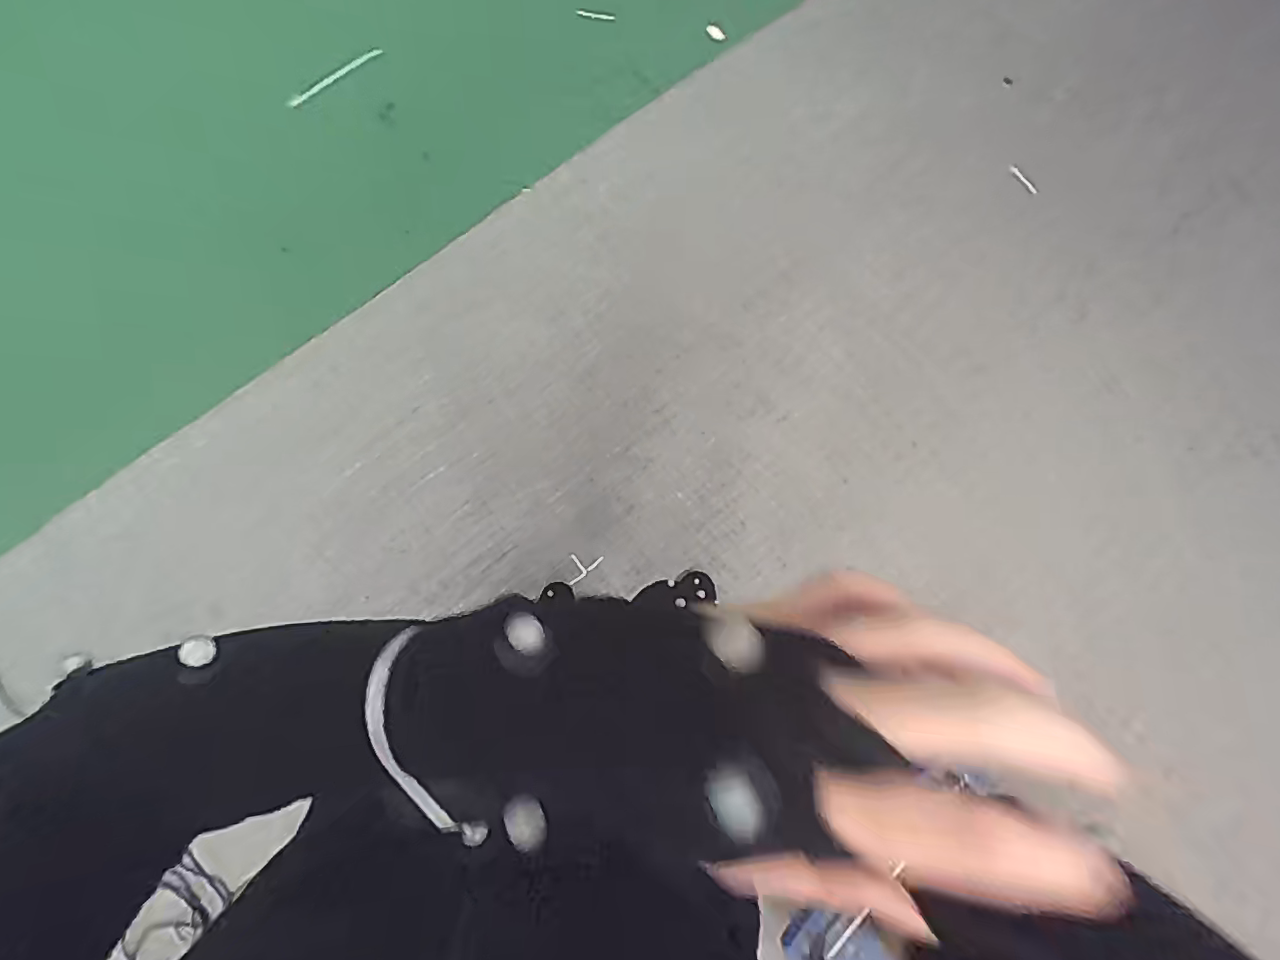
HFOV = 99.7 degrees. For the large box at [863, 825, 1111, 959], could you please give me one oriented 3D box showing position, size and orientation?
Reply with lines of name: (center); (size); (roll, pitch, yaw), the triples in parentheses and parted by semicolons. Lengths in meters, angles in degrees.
large box: (0.731, 0.990, 1.038); (0.408, 0.320, 0.320); (45, 84, 4)
